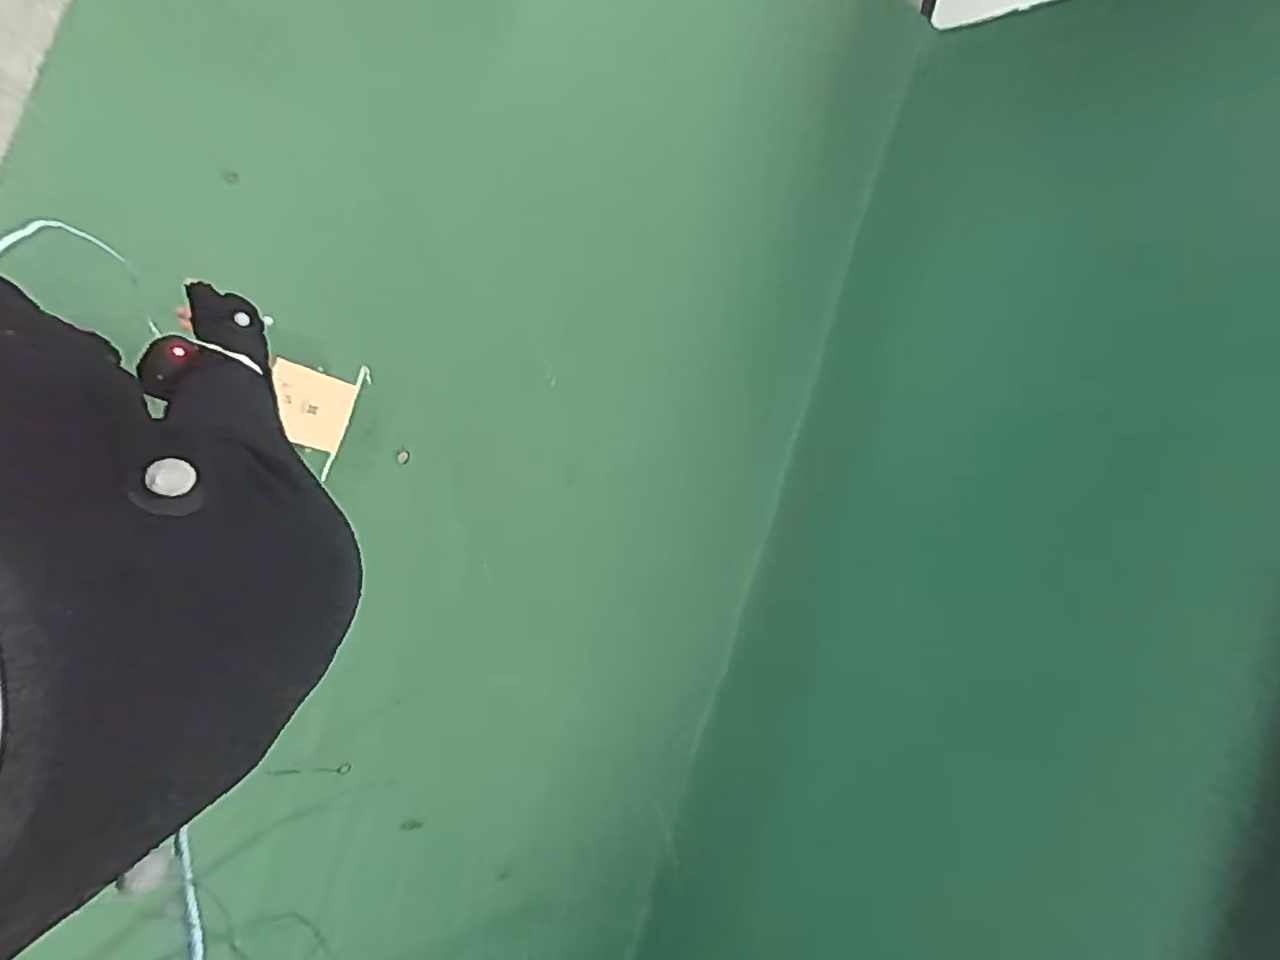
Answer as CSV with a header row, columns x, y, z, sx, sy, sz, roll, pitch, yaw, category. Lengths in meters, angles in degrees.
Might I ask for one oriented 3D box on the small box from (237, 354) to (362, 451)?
x,y,z,sx,sy,sz,roll,pitch,yaw,category
-0.783,-0.181,1.244,0.179,0.176,0.168,22,85,-49,small box
